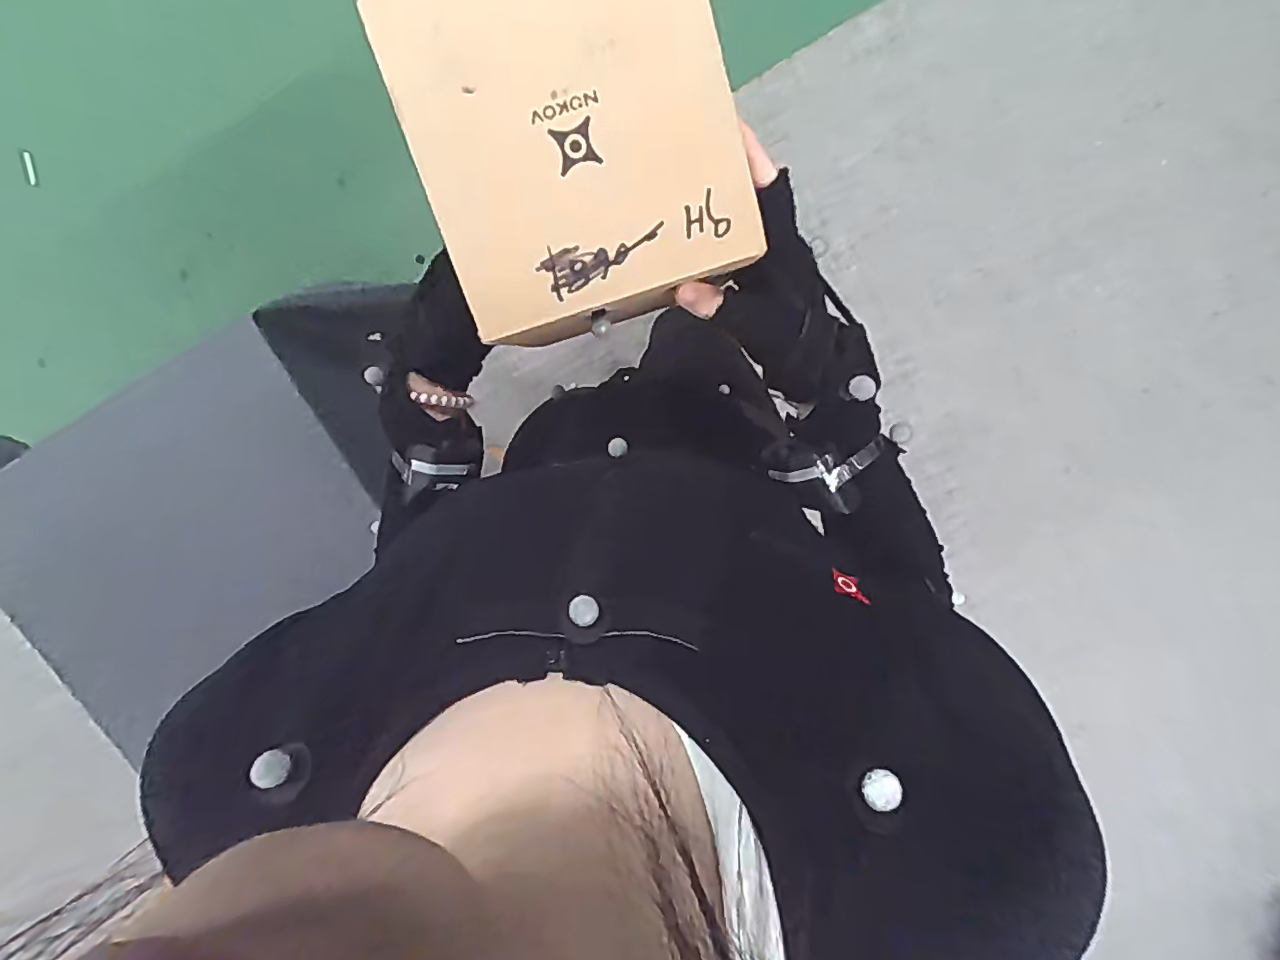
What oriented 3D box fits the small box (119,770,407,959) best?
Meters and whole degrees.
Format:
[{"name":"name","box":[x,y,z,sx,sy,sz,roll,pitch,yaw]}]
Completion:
[{"name":"small box","box":[-0.413,0.483,0.626,0.179,0.176,0.168,-27,100,8]}]

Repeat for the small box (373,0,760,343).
[{"name":"small box","box":[-0.036,-0.202,0.363,0.168,0.176,0.179,-17,102,3]}]
